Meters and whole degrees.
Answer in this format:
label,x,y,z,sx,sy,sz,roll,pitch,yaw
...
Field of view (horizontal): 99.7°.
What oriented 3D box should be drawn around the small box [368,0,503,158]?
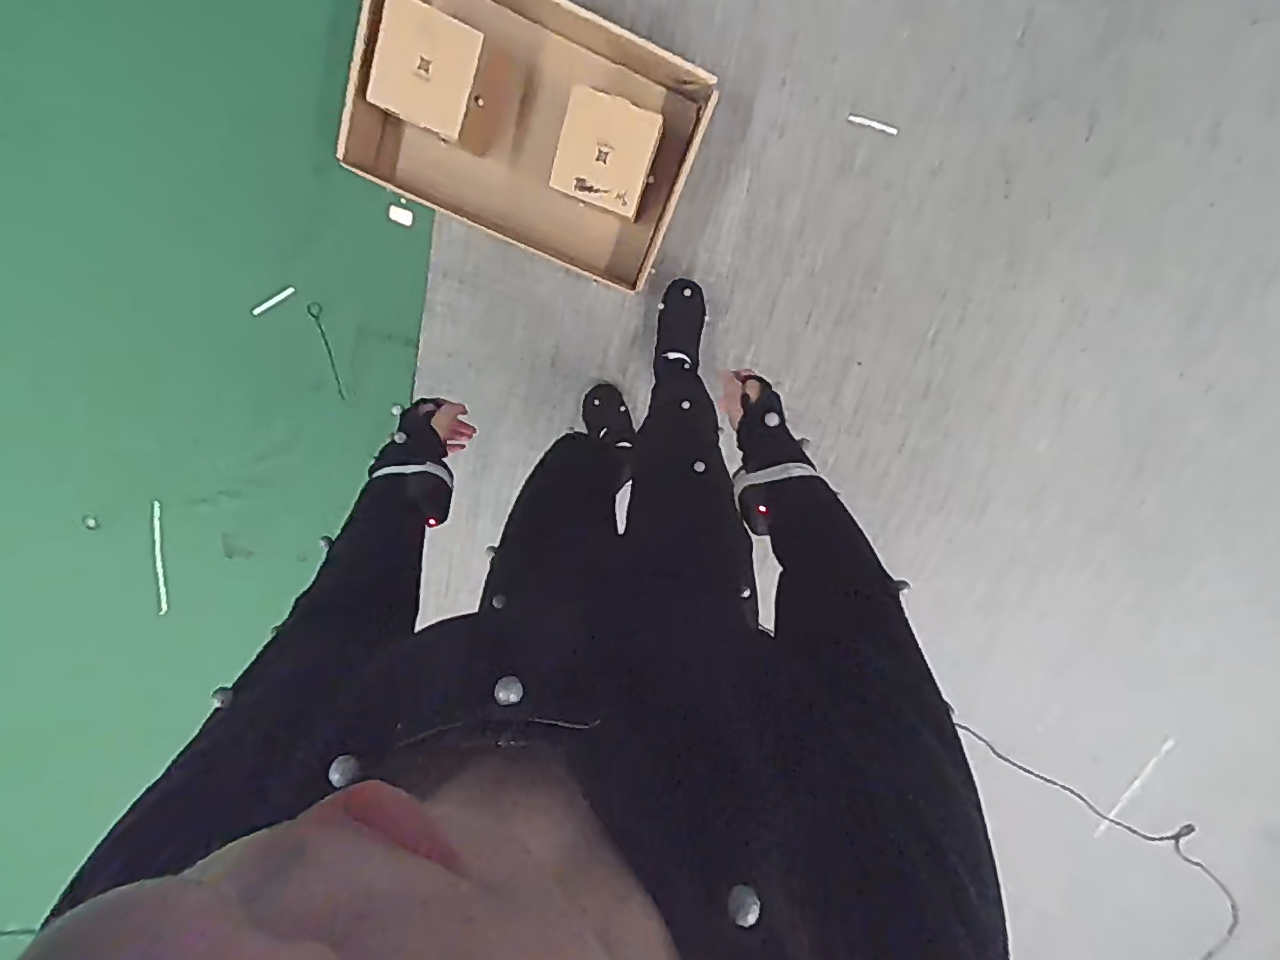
label,x,y,z,sx,sy,sz,roll,pitch,yaw
small box,-0.369,-0.729,1.001,0.168,0.176,0.179,22,110,-10
